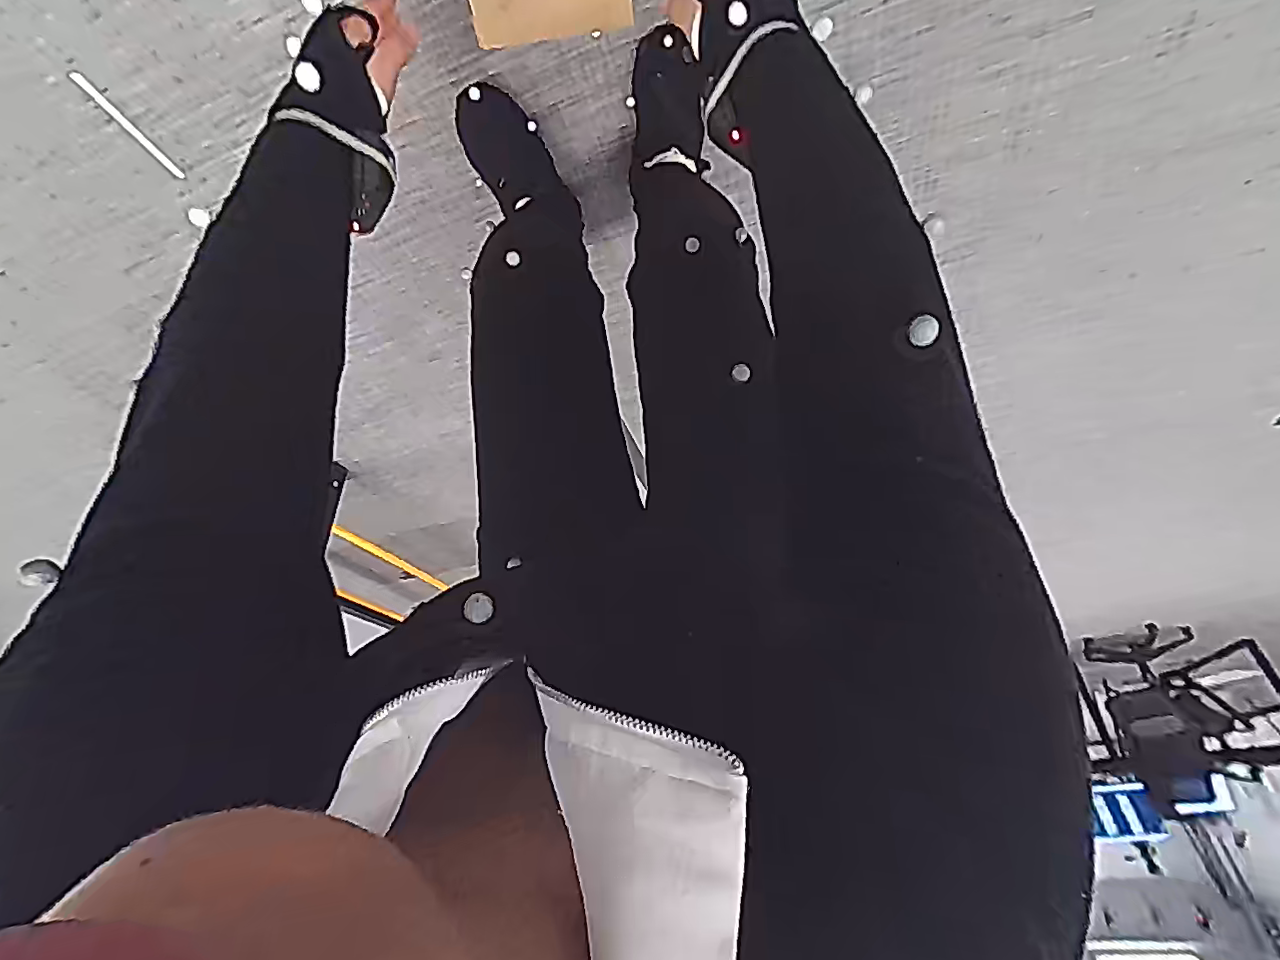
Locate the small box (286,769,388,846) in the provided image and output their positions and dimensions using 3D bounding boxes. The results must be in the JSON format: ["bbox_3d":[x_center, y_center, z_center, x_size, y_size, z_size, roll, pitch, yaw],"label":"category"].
[{"bbox_3d":[-0.849,0.927,1.532,0.179,0.176,0.168,-13,148,13],"label":"small box"}]

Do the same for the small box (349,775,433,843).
[{"bbox_3d":[-0.779,1.041,1.714,0.179,0.176,0.168,-13,146,14],"label":"small box"}]

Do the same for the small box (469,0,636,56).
[{"bbox_3d":[-0.103,-0.598,0.582,0.179,0.176,0.168,-6,147,3],"label":"small box"}]
